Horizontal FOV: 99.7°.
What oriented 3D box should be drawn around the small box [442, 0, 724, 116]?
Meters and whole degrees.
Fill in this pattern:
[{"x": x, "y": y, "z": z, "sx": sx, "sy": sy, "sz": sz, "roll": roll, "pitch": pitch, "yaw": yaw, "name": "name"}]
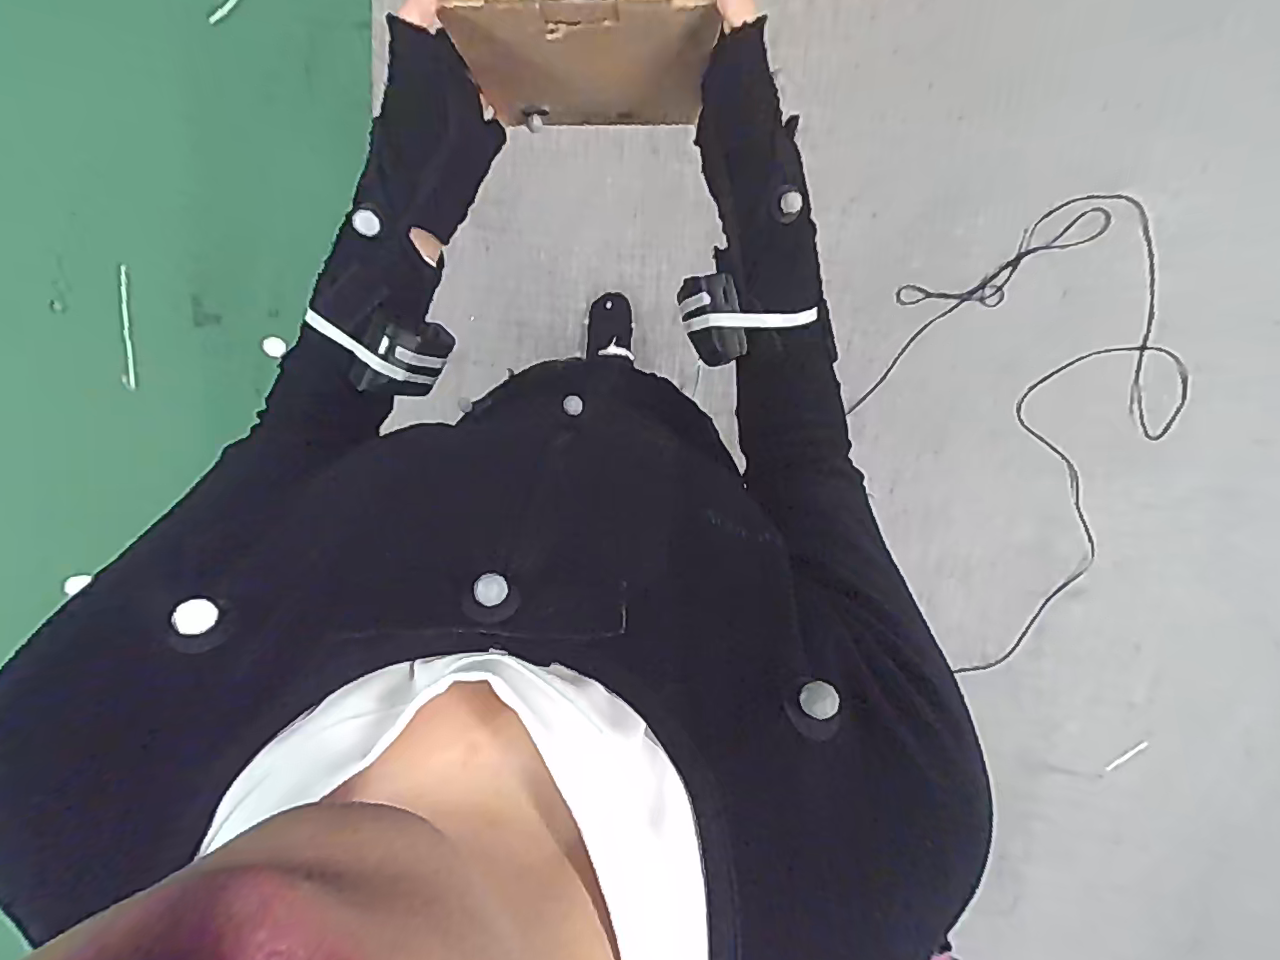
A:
[{"x": -0.029, "y": -0.365, "z": 0.352, "sx": 0.168, "sy": 0.176, "sz": 0.179, "roll": 0, "pitch": 102, "yaw": -1, "name": "small box"}]
